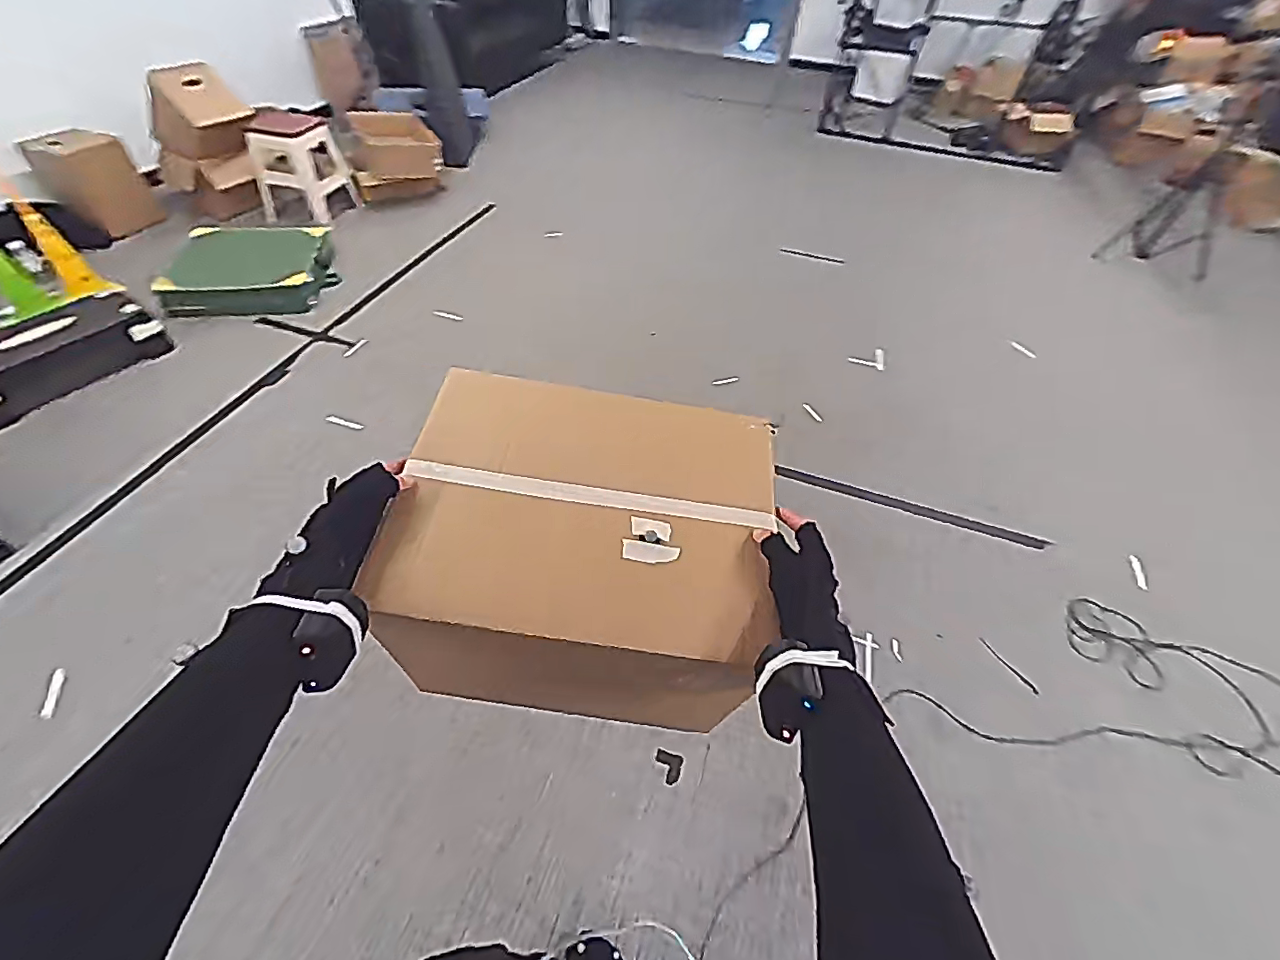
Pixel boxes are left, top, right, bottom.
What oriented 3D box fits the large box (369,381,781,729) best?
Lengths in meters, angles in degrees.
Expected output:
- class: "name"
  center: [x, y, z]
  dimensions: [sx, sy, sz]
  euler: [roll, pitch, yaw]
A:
- class: "large box"
  center: [-0.064, 0.113, 0.717]
  dimensions: [0.408, 0.320, 0.320]
  euler: [10, 55, -2]
